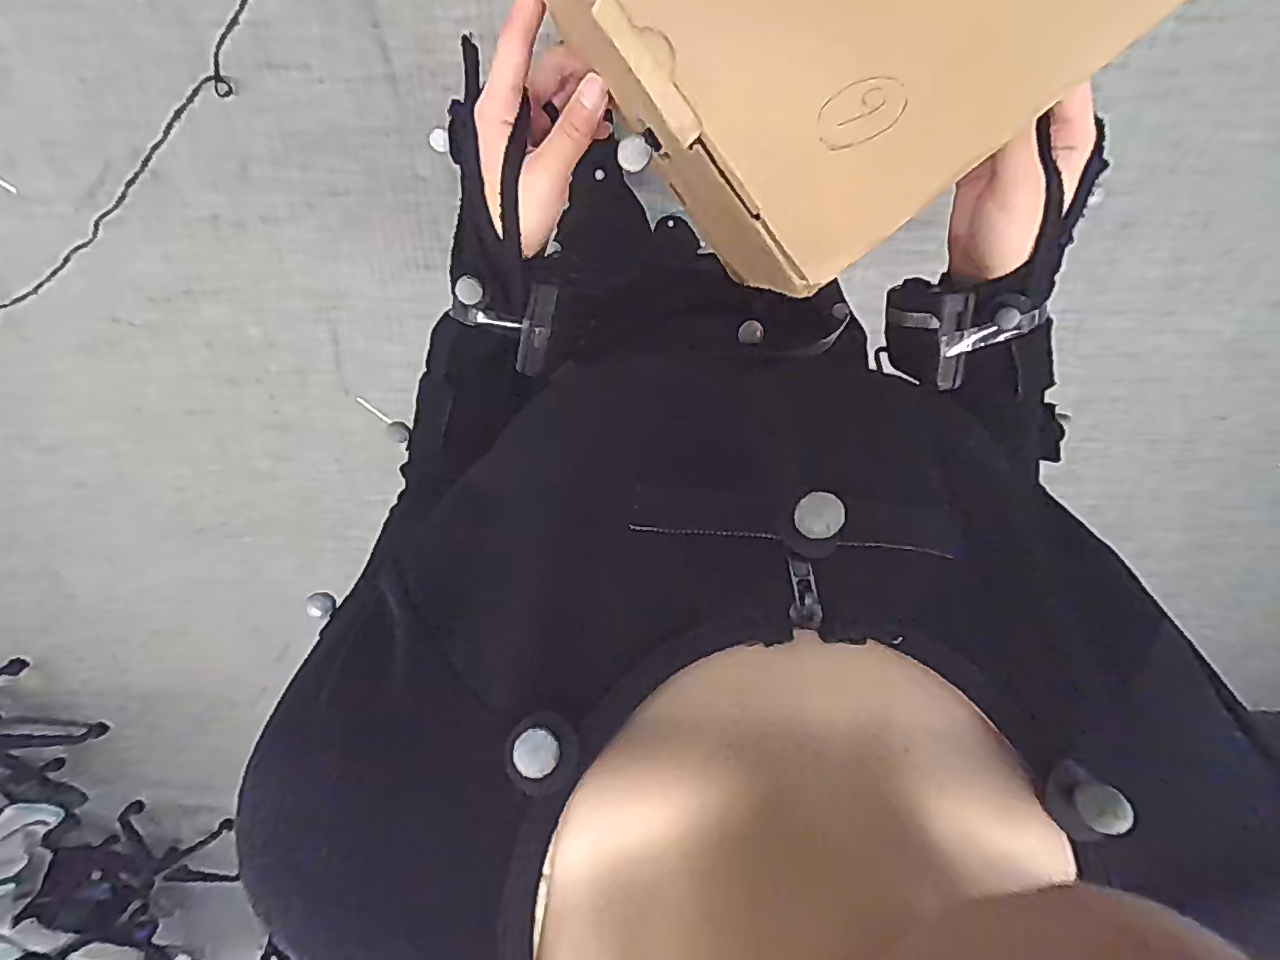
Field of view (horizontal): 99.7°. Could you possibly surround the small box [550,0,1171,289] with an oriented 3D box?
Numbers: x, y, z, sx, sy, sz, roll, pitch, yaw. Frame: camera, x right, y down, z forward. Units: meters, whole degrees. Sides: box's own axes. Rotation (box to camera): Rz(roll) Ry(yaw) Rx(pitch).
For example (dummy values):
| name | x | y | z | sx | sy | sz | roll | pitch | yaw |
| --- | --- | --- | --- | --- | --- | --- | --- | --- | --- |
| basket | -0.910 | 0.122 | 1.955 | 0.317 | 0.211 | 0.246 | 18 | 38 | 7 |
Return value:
| name | x | y | z | sx | sy | sz | roll | pitch | yaw |
| --- | --- | --- | --- | --- | --- | --- | --- | --- | --- |
| small box | 0.069 | -0.197 | 0.210 | 0.179 | 0.176 | 0.168 | -37 | 105 | 16 |
